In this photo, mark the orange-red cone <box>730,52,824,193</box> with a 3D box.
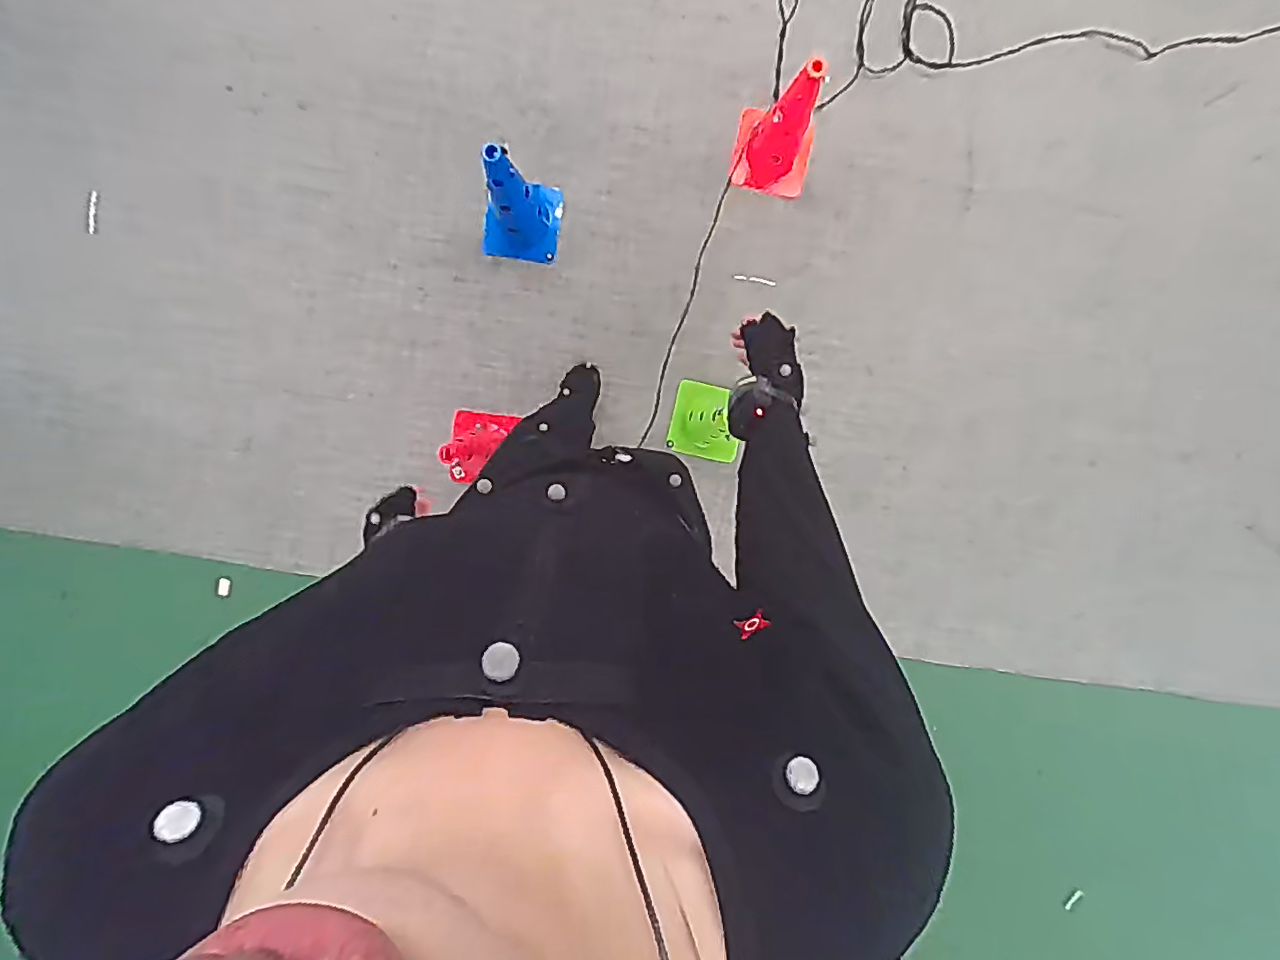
[{"bbox_3d":[0.354,-0.864,1.268,0.198,0.360,0.199,14,96,-2],"label":"orange-red cone"}]

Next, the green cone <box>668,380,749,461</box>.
[{"bbox_3d":[0.197,-0.152,1.324,0.200,0.368,0.202,11,94,-3],"label":"green cone"}]
